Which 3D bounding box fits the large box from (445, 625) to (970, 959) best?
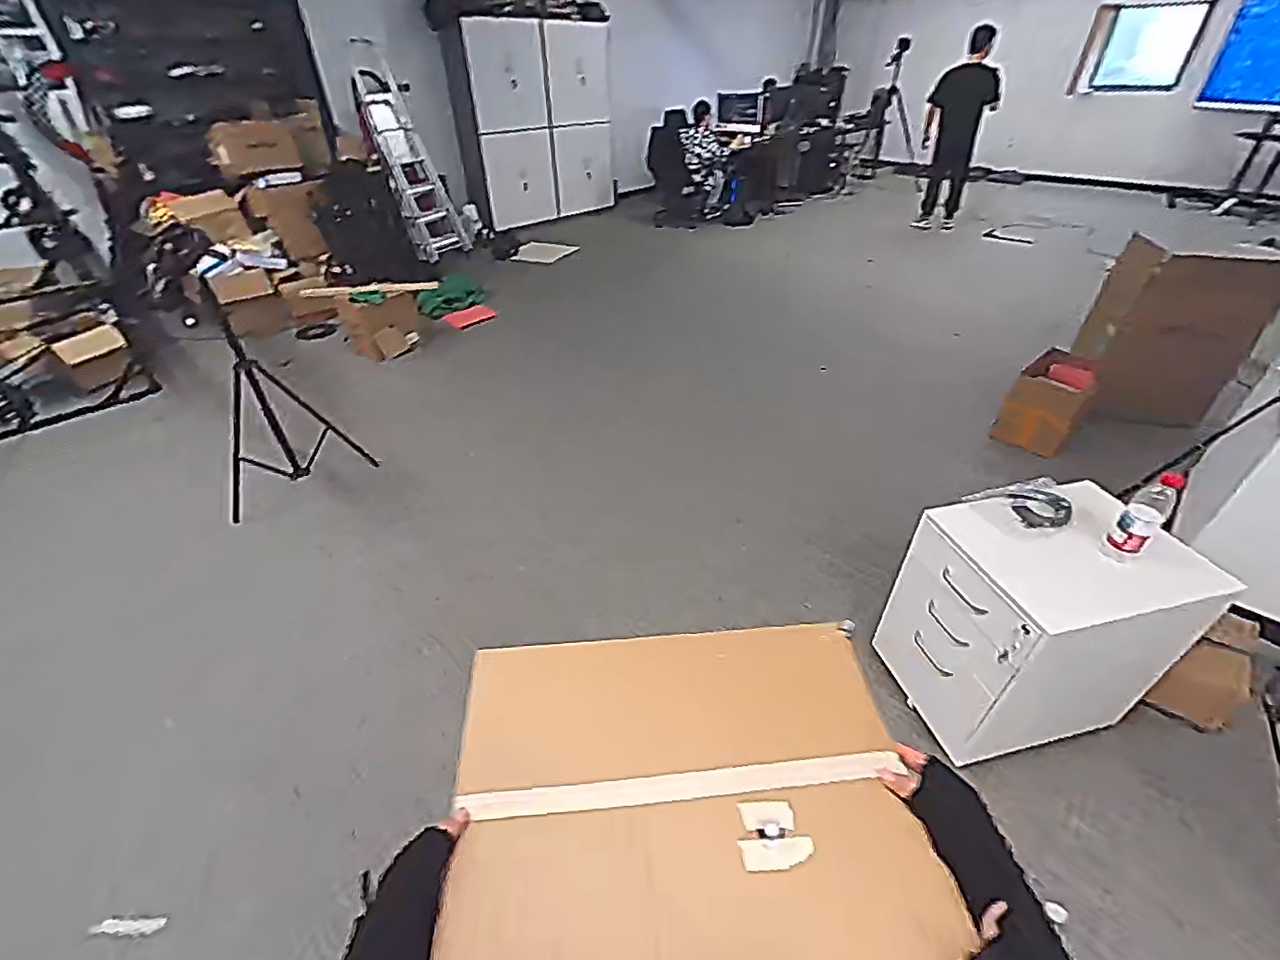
[{"bbox_3d":[0.035,0.394,0.594,0.408,0.320,0.320,-4,42,-5],"label":"large box"}]
